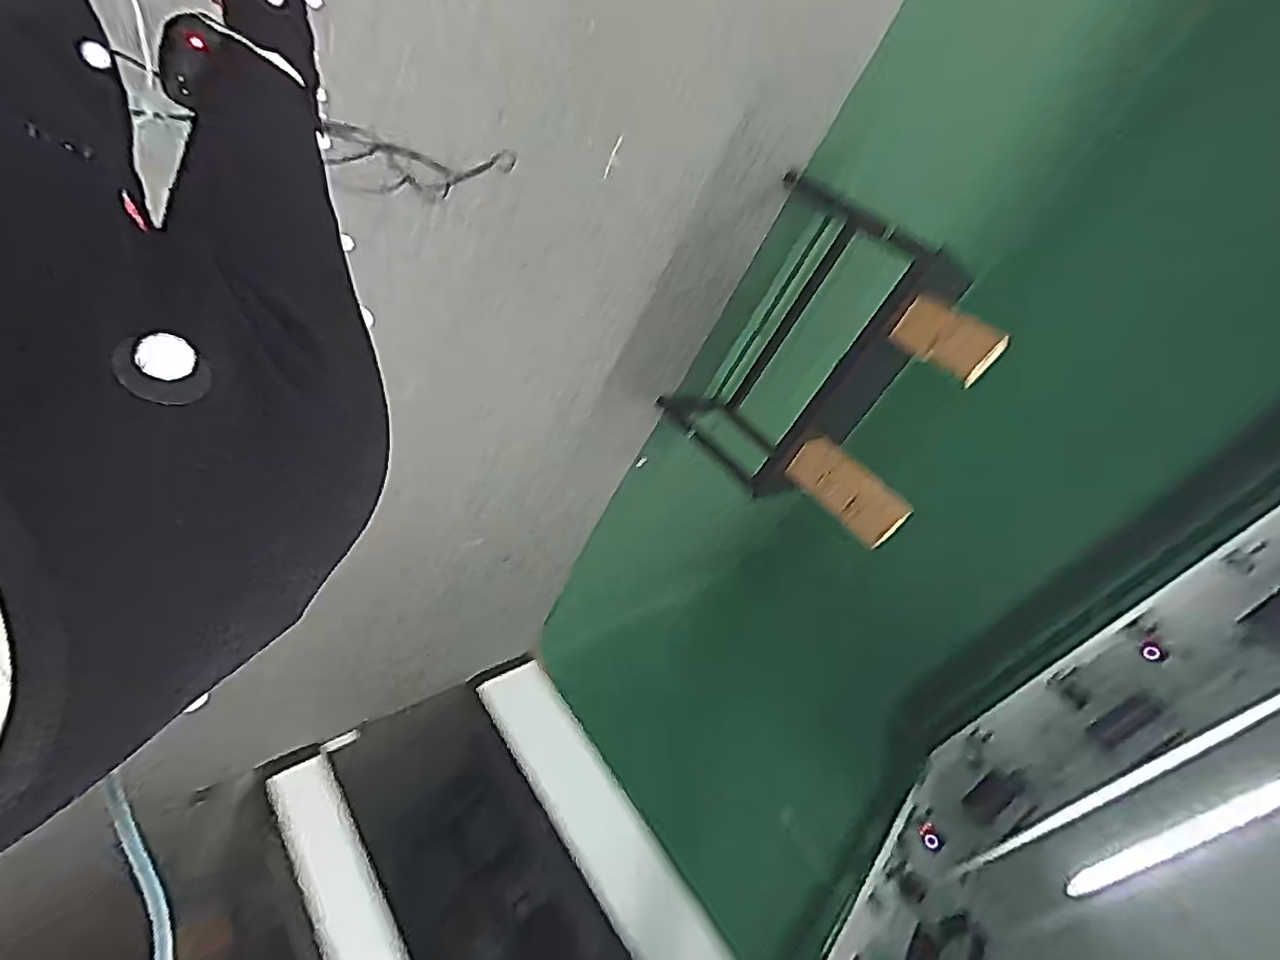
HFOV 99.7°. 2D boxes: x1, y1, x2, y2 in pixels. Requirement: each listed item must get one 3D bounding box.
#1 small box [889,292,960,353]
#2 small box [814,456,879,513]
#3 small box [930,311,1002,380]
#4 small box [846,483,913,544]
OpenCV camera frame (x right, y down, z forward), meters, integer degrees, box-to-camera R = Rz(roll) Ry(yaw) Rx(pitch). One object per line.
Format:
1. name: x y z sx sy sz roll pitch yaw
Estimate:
1. small box: 1.112 -0.613 2.097 0.179 0.176 0.168 -15 144 -42
2. small box: 0.898 0.014 2.362 0.179 0.176 0.168 -16 143 -44
3. small box: 1.214 -0.507 2.024 0.168 0.176 0.179 -51 154 18
4. small box: 1.007 0.136 2.288 0.179 0.176 0.168 -17 144 -44
